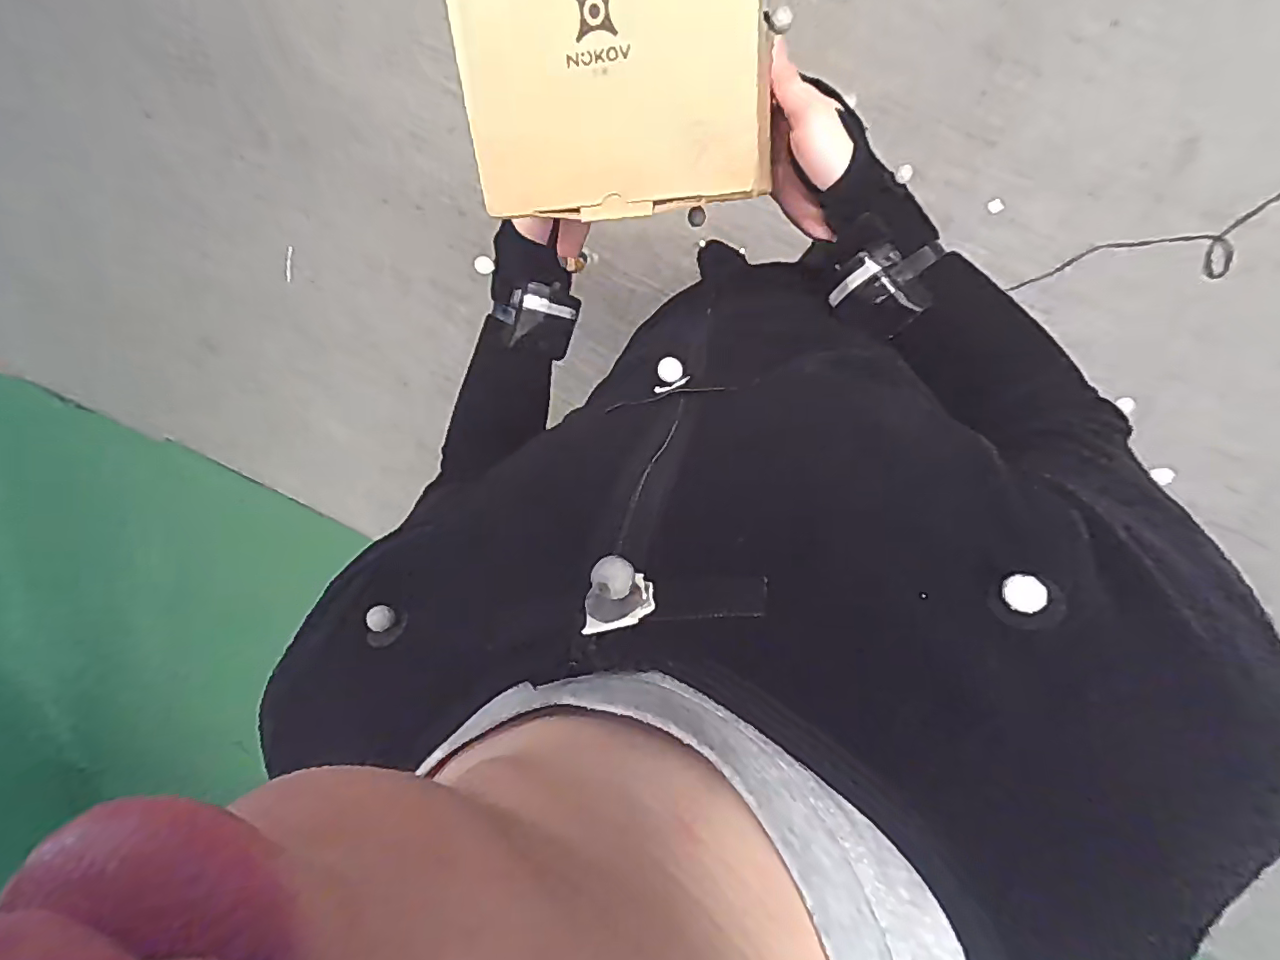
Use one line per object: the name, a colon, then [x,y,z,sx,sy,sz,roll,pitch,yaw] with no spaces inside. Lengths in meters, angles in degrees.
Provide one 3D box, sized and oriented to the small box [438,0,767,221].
small box: [-0.007,-0.272,0.346,0.168,0.176,0.179,2,117,15]
